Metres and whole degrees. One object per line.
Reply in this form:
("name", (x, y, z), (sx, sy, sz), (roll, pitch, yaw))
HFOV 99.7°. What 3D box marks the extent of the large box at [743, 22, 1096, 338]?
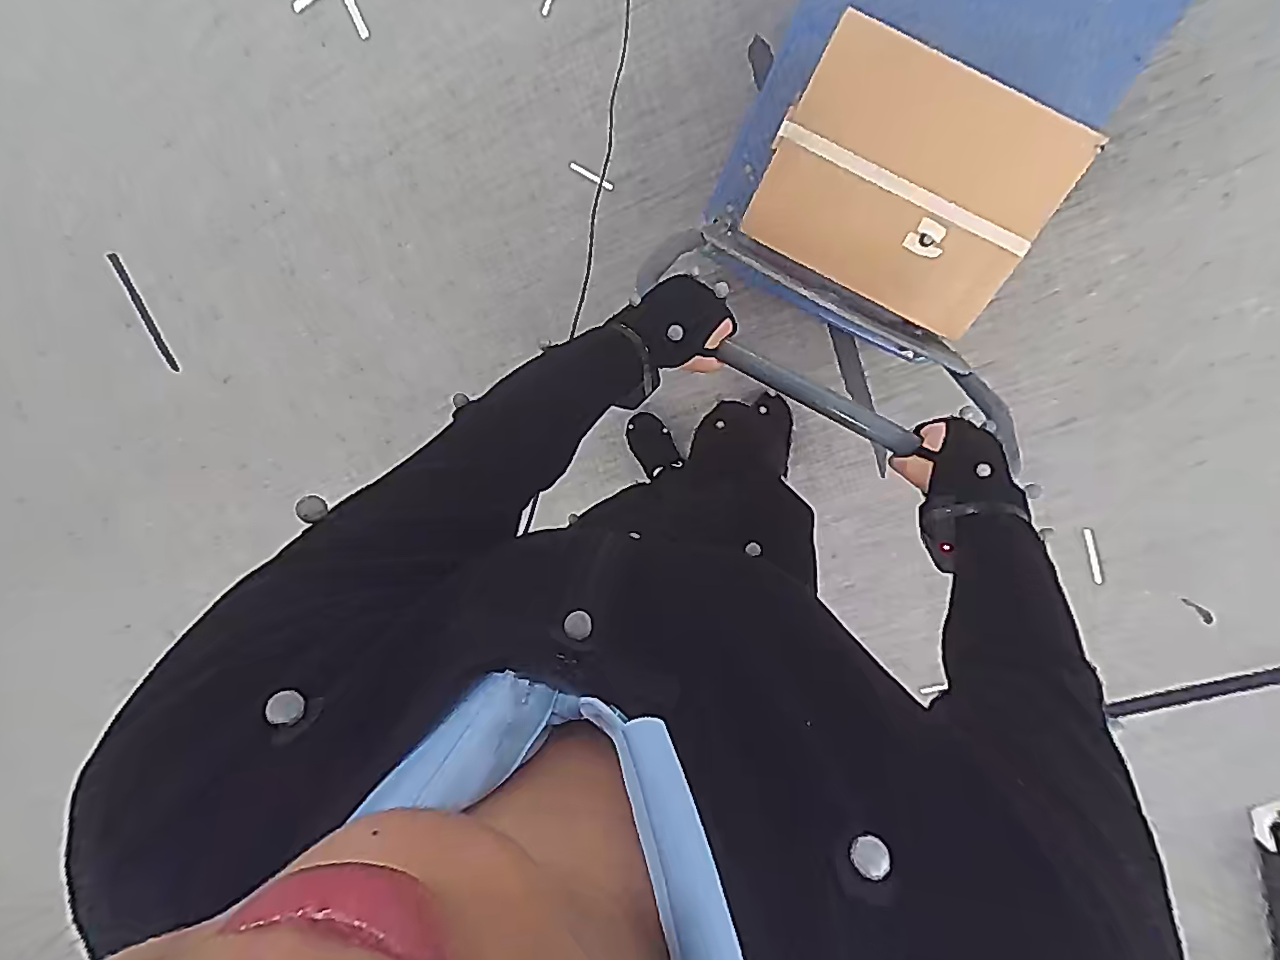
("large box", (0.436, -0.501, 0.961), (0.408, 0.320, 0.320), (28, 118, 1))
